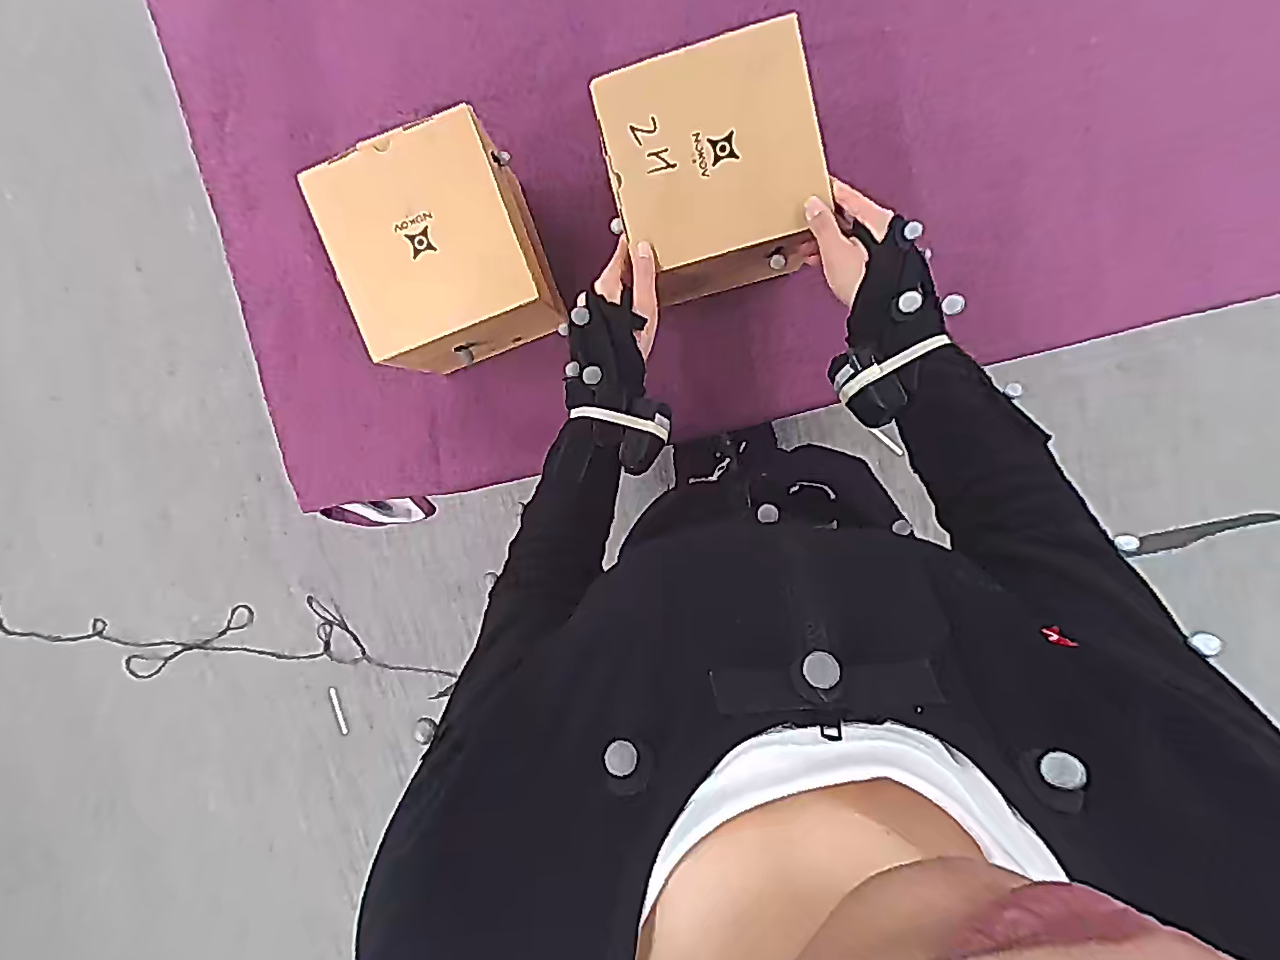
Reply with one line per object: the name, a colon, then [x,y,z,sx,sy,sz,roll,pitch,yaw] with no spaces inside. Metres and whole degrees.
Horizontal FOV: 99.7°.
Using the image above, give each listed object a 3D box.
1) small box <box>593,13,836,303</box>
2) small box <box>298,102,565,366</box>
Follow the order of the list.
small box: [0.068,-0.286,0.525,0.179,0.176,0.168,-13,96,7]
small box: [-0.190,-0.225,0.552,0.168,0.176,0.179,-20,95,5]
